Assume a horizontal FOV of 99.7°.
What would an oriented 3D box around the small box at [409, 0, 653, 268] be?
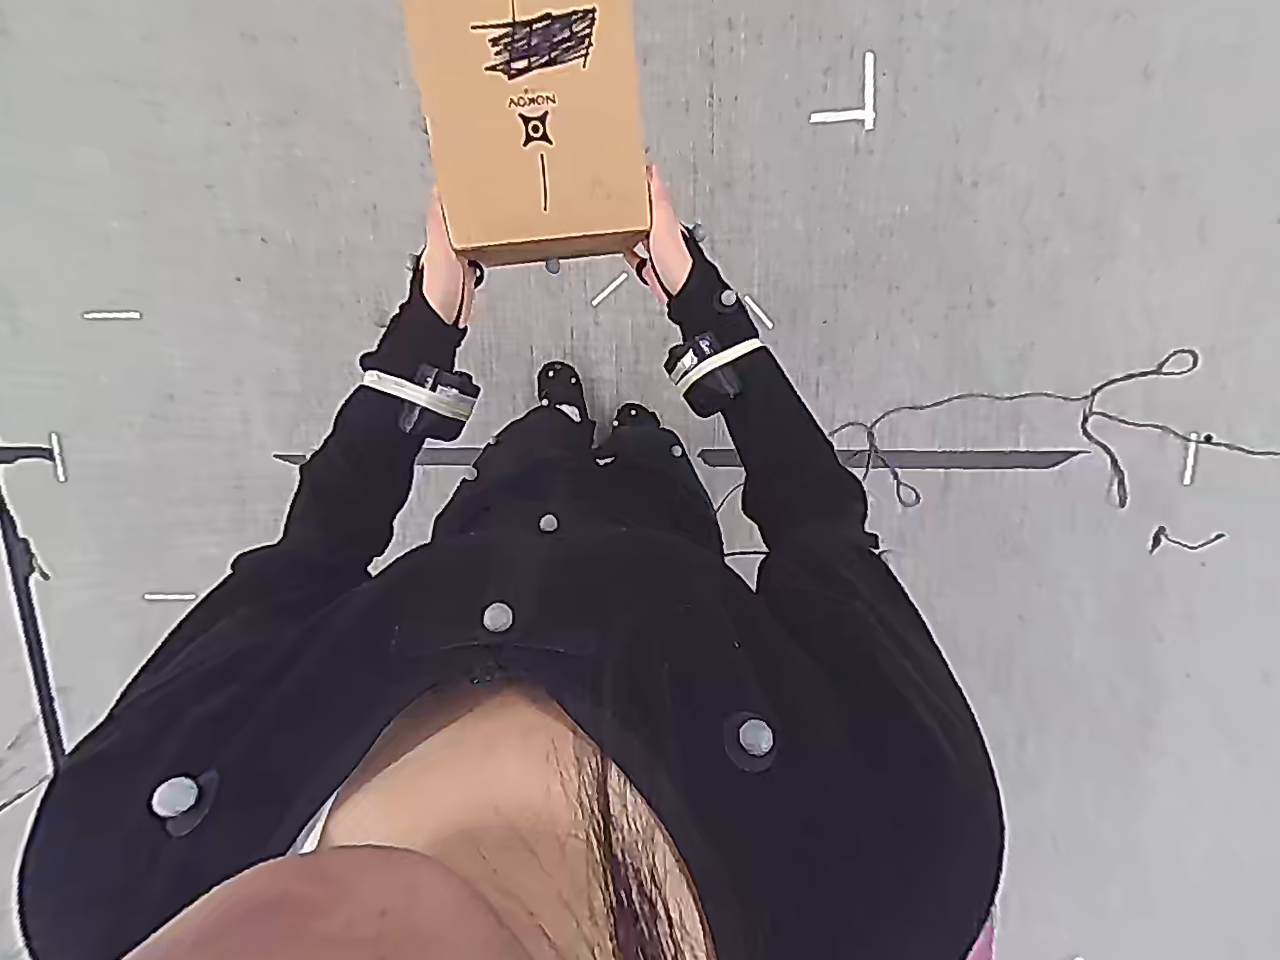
[{"bbox_3d":[-0.087,-0.299,0.489,0.168,0.176,0.179,-8,107,-4],"label":"small box"}]
